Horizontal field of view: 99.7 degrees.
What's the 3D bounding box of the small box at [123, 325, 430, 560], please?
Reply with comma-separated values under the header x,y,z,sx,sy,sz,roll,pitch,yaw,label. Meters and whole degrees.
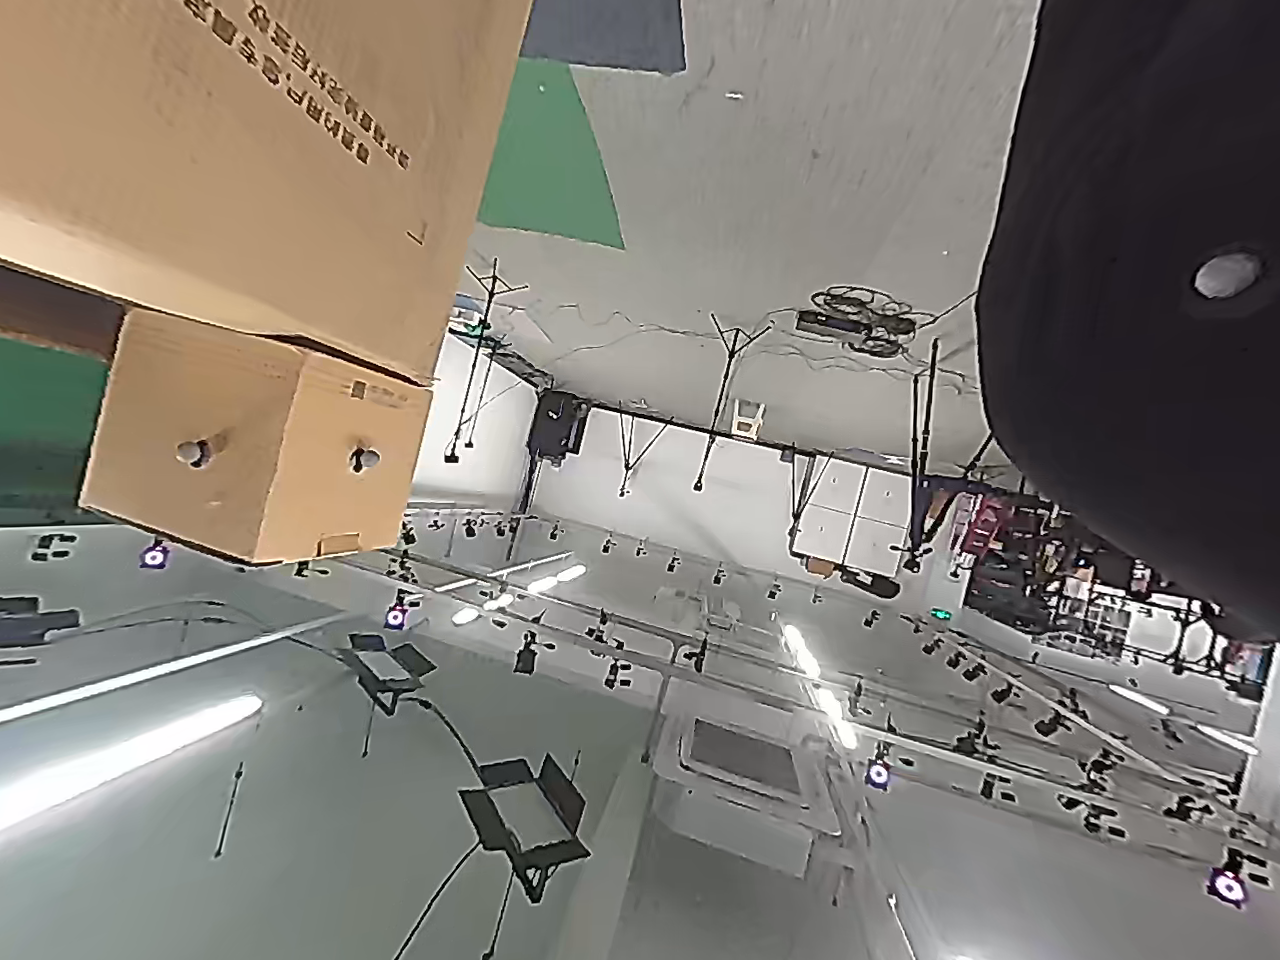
x,y,z,sx,sy,sz,roll,pitch,yaw,label
-0.324,-0.035,0.514,0.179,0.176,0.168,14,180,13,small box
